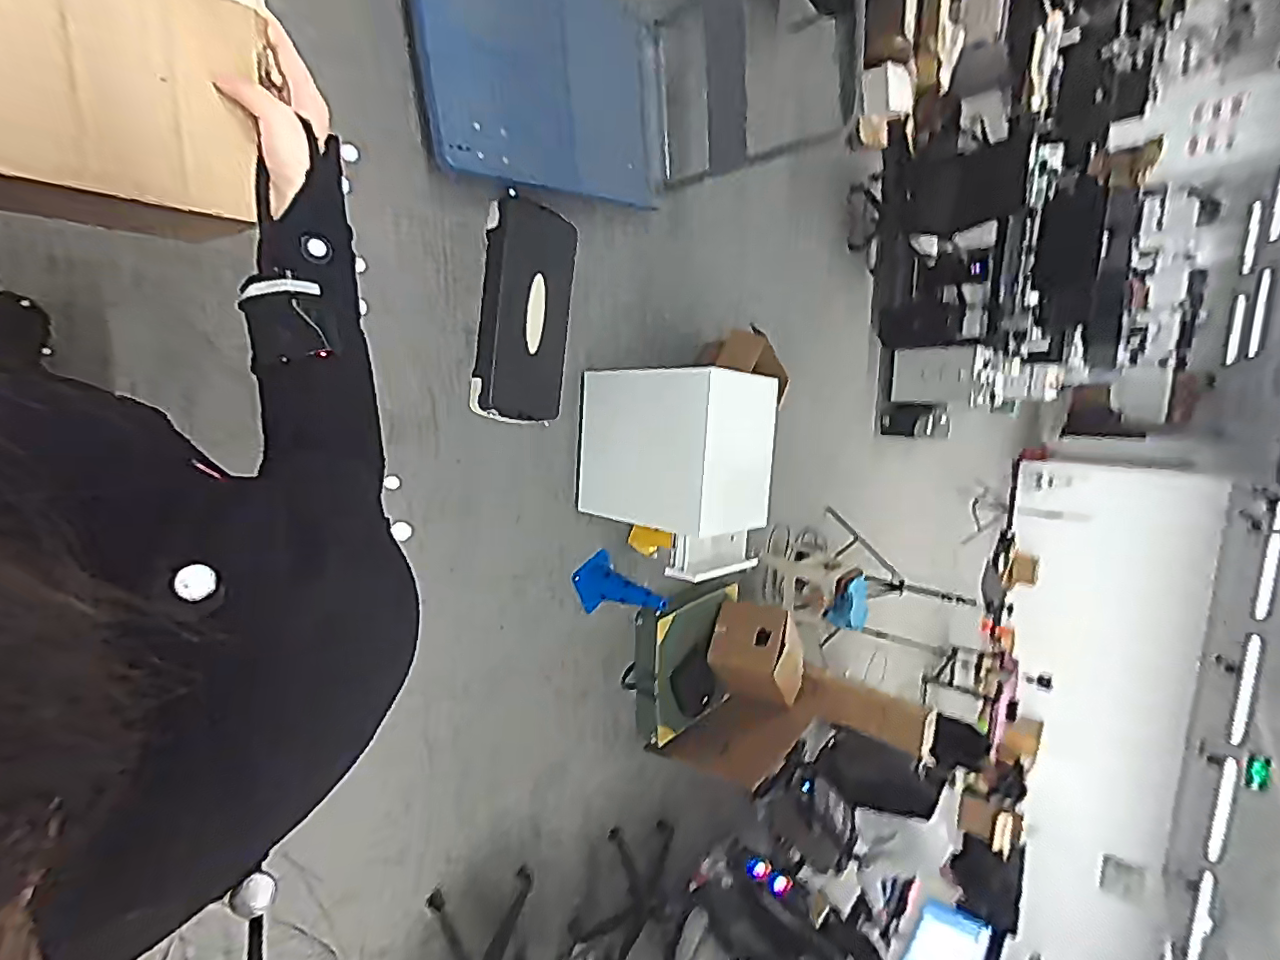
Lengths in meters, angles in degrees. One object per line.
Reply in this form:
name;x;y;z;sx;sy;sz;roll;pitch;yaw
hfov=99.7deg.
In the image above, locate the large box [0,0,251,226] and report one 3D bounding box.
large box;-0.545;-0.376;0.365;0.408;0.320;0.320;-9;111;-43
